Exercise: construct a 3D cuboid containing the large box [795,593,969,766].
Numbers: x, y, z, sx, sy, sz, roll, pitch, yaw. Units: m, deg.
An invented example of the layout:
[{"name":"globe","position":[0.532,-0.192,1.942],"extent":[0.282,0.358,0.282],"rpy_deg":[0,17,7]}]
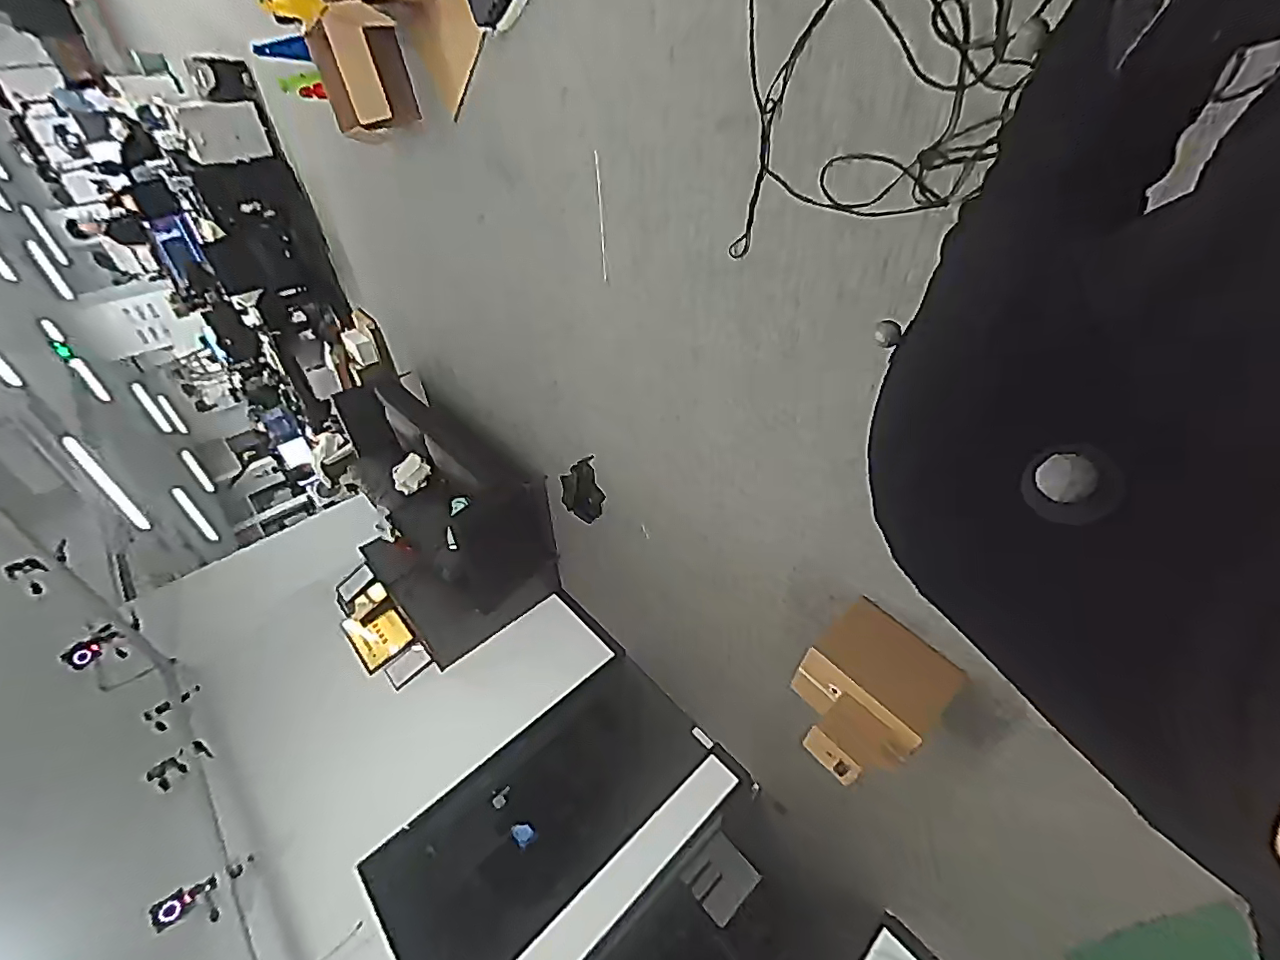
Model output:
[{"name":"large box","position":[0.821,0.680,1.872],"extent":[0.408,0.320,0.320],"rpy_deg":[40,145,31]}]
